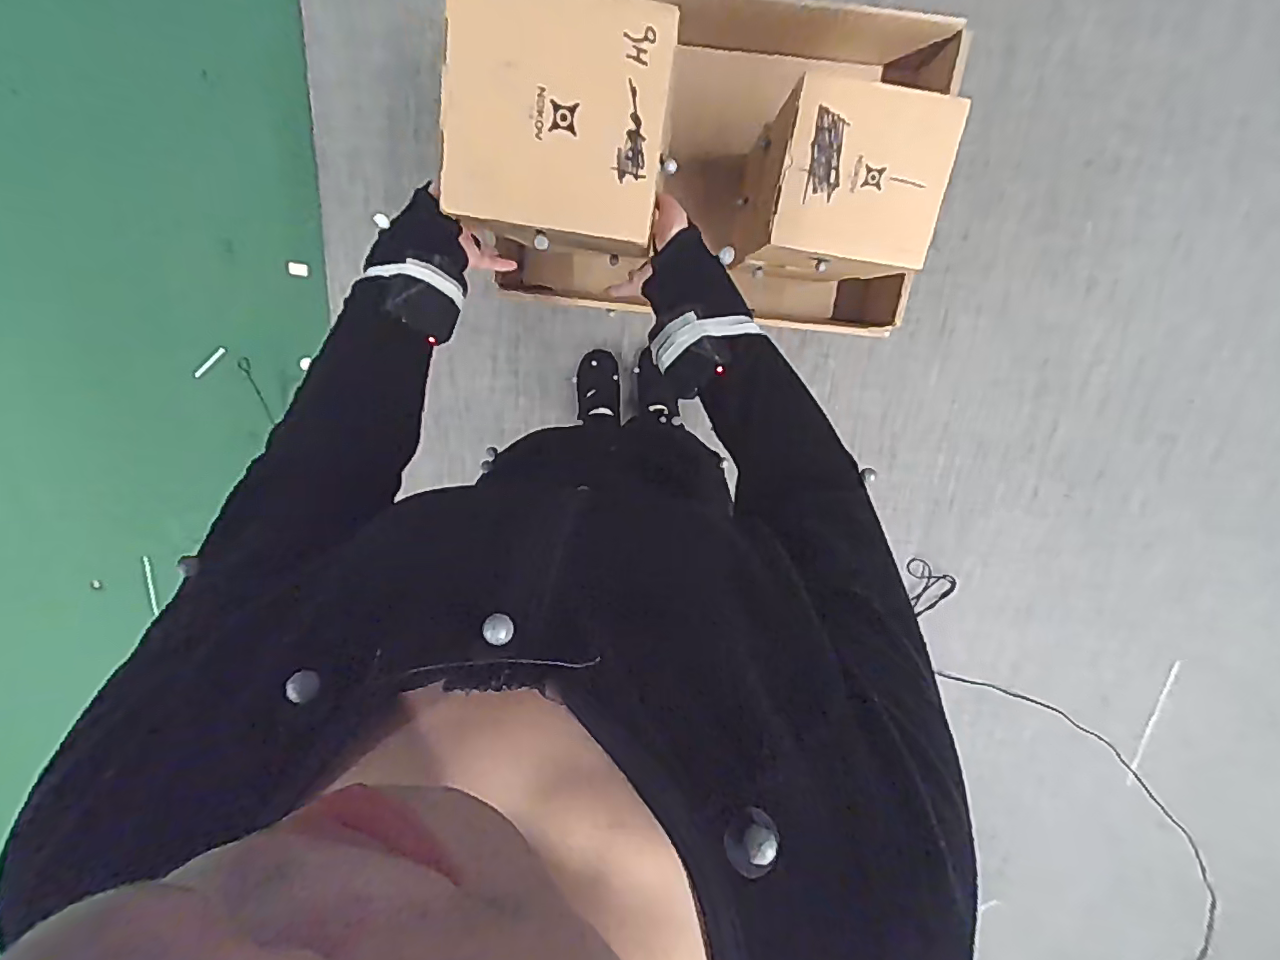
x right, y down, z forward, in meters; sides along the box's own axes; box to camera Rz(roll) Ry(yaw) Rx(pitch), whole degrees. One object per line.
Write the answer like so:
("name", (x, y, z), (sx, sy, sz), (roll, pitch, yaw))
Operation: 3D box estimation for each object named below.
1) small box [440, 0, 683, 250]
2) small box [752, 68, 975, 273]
("small box", (-0.062, -0.314, 0.495), (0.179, 0.176, 0.168), (9, 109, -1))
("small box", (0.242, -0.346, 0.640), (0.179, 0.176, 0.168), (9, 108, -1))
